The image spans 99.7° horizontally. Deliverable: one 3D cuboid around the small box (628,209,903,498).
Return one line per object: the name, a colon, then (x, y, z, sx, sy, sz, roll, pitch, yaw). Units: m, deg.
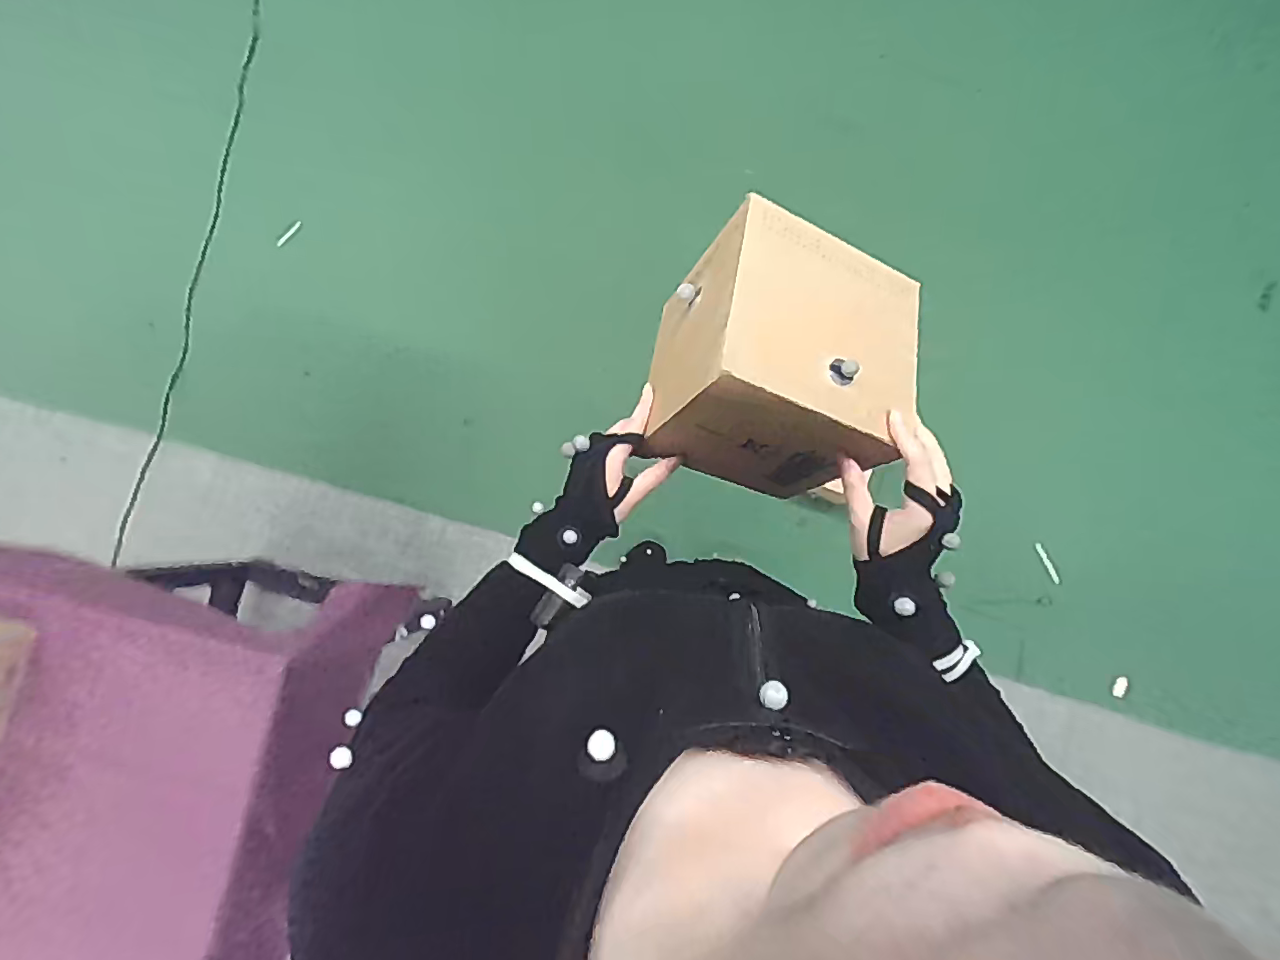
small box: (0.112, -0.101, 0.486, 0.179, 0.168, 0.176, 19, 68, -17)

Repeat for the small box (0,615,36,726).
small box: (-0.974, 0.258, 0.696, 0.179, 0.176, 0.168, 16, 85, -1)
